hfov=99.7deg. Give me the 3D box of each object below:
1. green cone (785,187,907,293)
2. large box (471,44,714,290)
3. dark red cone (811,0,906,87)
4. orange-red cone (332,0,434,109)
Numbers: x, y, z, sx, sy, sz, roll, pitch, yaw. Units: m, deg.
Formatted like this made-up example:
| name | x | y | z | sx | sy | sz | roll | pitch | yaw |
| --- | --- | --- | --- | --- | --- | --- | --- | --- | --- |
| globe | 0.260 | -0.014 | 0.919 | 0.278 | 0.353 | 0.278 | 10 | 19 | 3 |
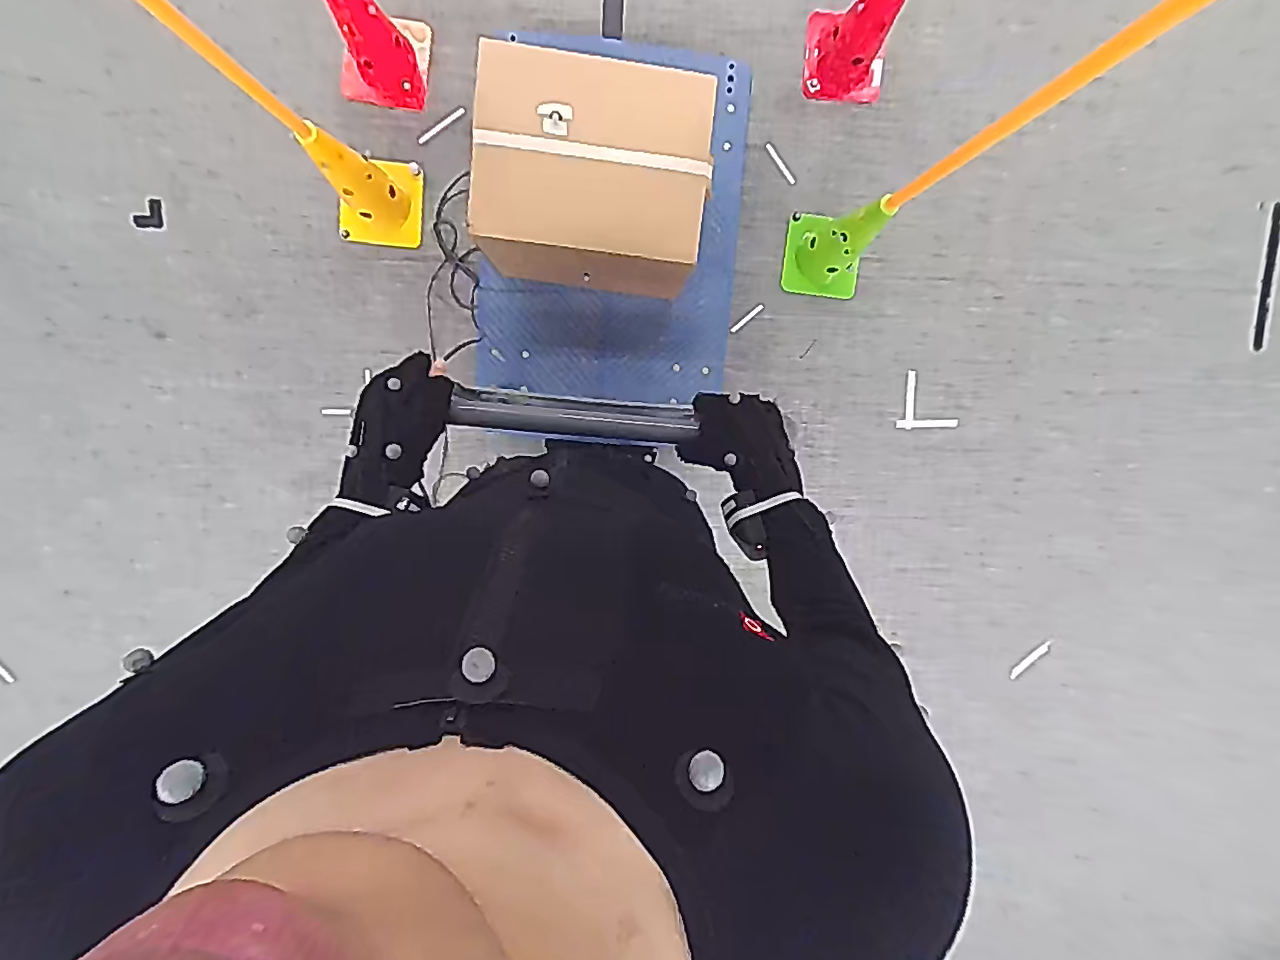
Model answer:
| name | x | y | z | sx | sy | sz | roll | pitch | yaw |
| --- | --- | --- | --- | --- | --- | --- | --- | --- | --- |
| green cone | 0.496 | -0.581 | 1.248 | 0.202 | 0.368 | 0.200 | 5 | 97 | -4 |
| large box | -0.087 | -0.581 | 1.077 | 0.408 | 0.320 | 0.320 | 6 | 97 | -3 |
| dark red cone | 0.533 | -1.058 | 1.169 | 0.201 | 0.394 | 0.202 | 1 | 98 | -5 |
| orange-red cone | -0.599 | -1.005 | 1.145 | 0.198 | 0.360 | 0.199 | 9 | 96 | -5 |
